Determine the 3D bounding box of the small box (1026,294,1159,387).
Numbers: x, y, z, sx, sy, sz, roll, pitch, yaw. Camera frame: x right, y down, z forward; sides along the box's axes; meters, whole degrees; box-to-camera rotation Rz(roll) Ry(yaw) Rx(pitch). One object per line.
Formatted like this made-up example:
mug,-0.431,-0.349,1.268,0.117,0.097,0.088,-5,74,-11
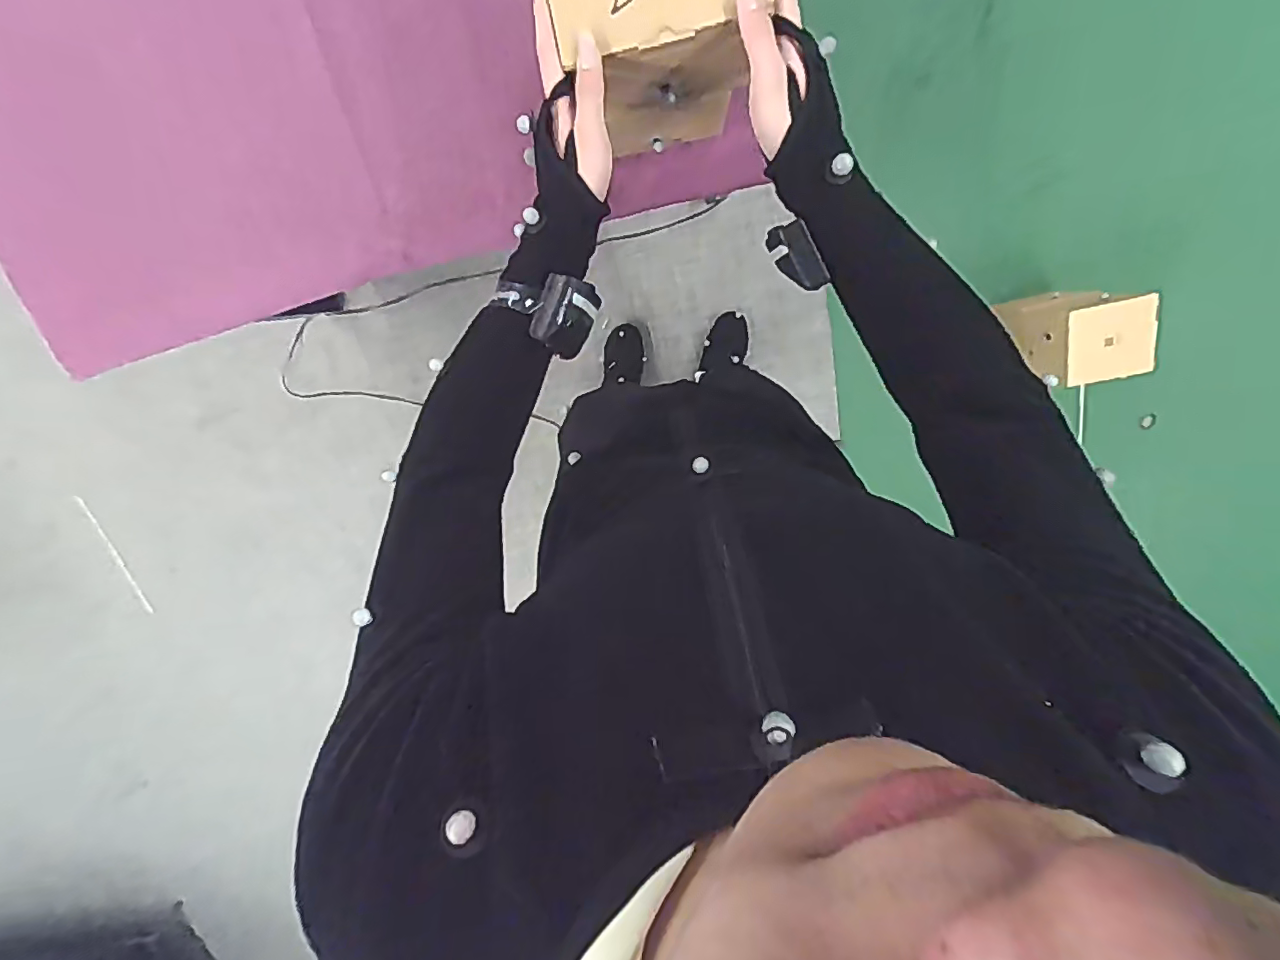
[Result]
small box,1.011,-0.319,1.226,0.179,0.176,0.168,-11,108,7

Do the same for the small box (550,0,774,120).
small box,0.010,-0.438,0.452,0.168,0.176,0.179,-9,110,8

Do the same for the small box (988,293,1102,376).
small box,1.021,-0.376,1.376,0.179,0.176,0.168,-11,108,9
